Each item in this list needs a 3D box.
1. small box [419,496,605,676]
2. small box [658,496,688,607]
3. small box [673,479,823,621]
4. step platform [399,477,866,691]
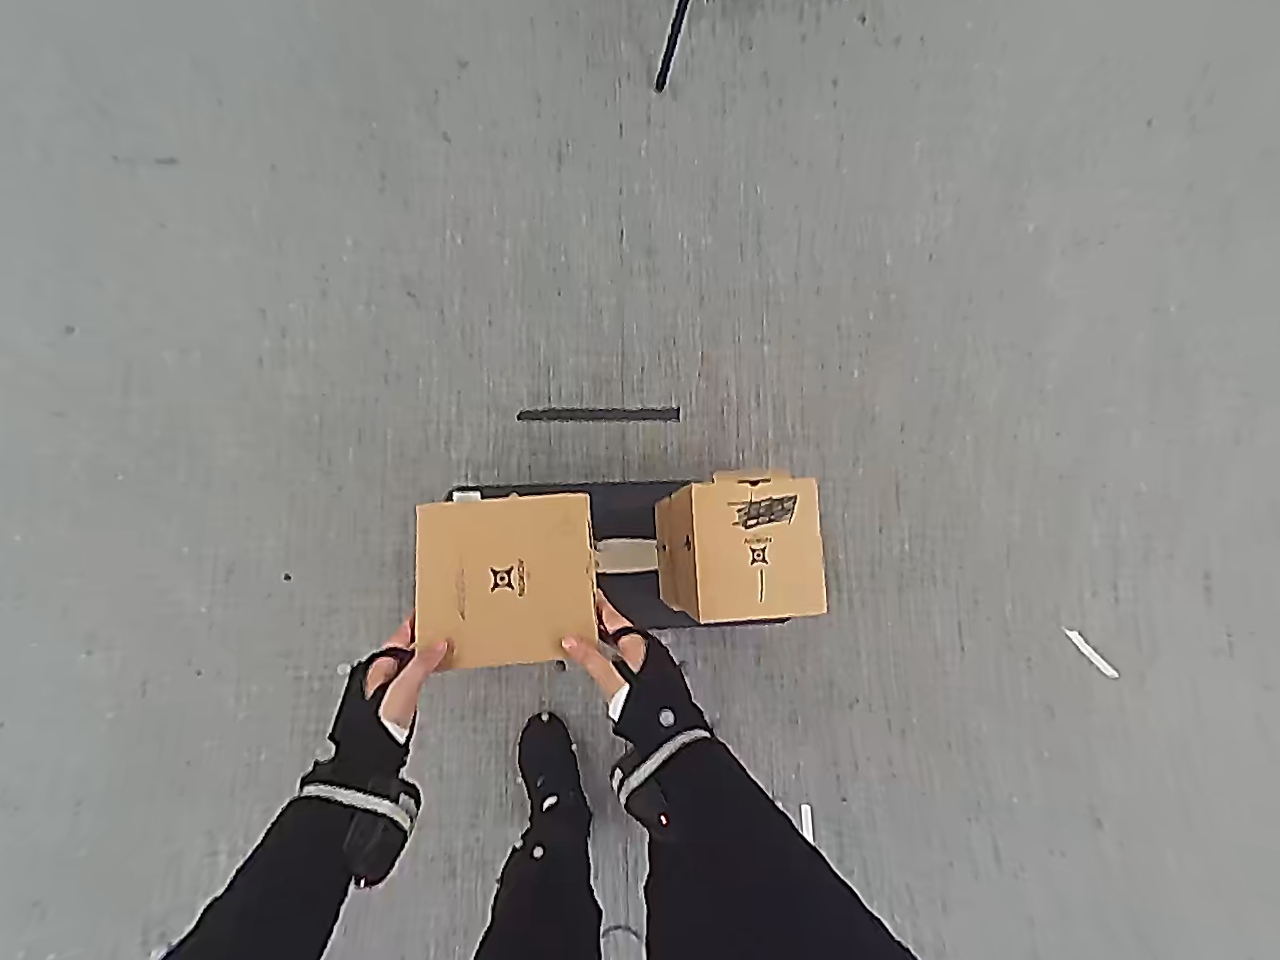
[{"bbox_3d":[-0.135,0.120,0.610,0.179,0.176,0.168,-5,75,-5],"label":"small box"},{"bbox_3d":[0.119,0.120,0.932,0.168,0.176,0.179,-3,84,-5],"label":"small box"},{"bbox_3d":[0.142,0.097,0.771,0.168,0.176,0.179,-3,84,-5],"label":"small box"},{"bbox_3d":[-0.007,0.156,0.881,0.684,0.204,0.286,-2,83,-6],"label":"step platform"}]
